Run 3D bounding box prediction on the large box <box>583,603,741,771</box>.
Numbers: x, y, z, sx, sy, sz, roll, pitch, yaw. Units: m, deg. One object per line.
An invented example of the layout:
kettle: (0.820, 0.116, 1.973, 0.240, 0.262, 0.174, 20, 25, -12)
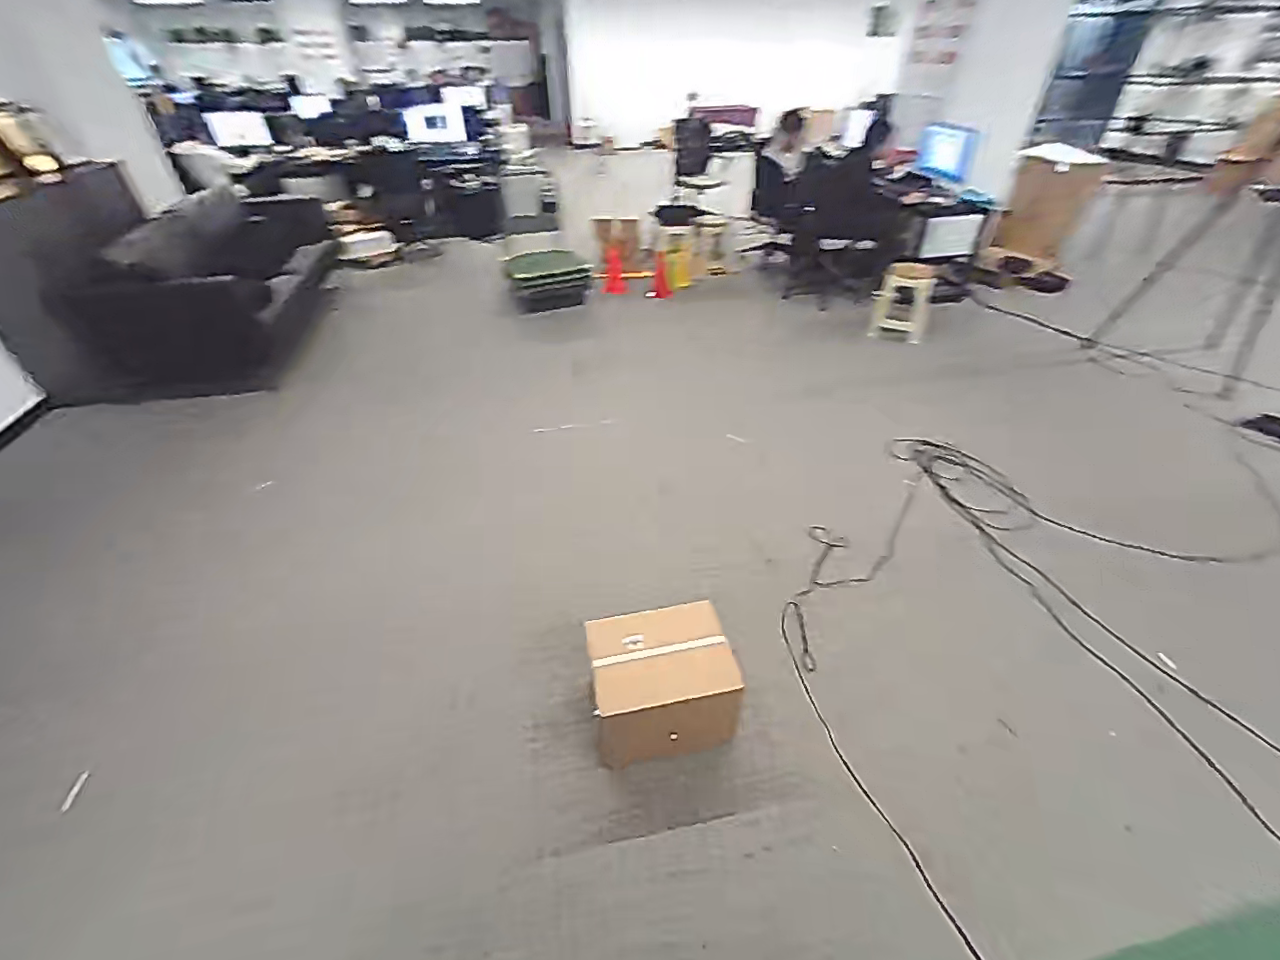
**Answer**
large box: (0.059, 0.630, 1.660, 0.408, 0.320, 0.320, -10, 38, -9)
